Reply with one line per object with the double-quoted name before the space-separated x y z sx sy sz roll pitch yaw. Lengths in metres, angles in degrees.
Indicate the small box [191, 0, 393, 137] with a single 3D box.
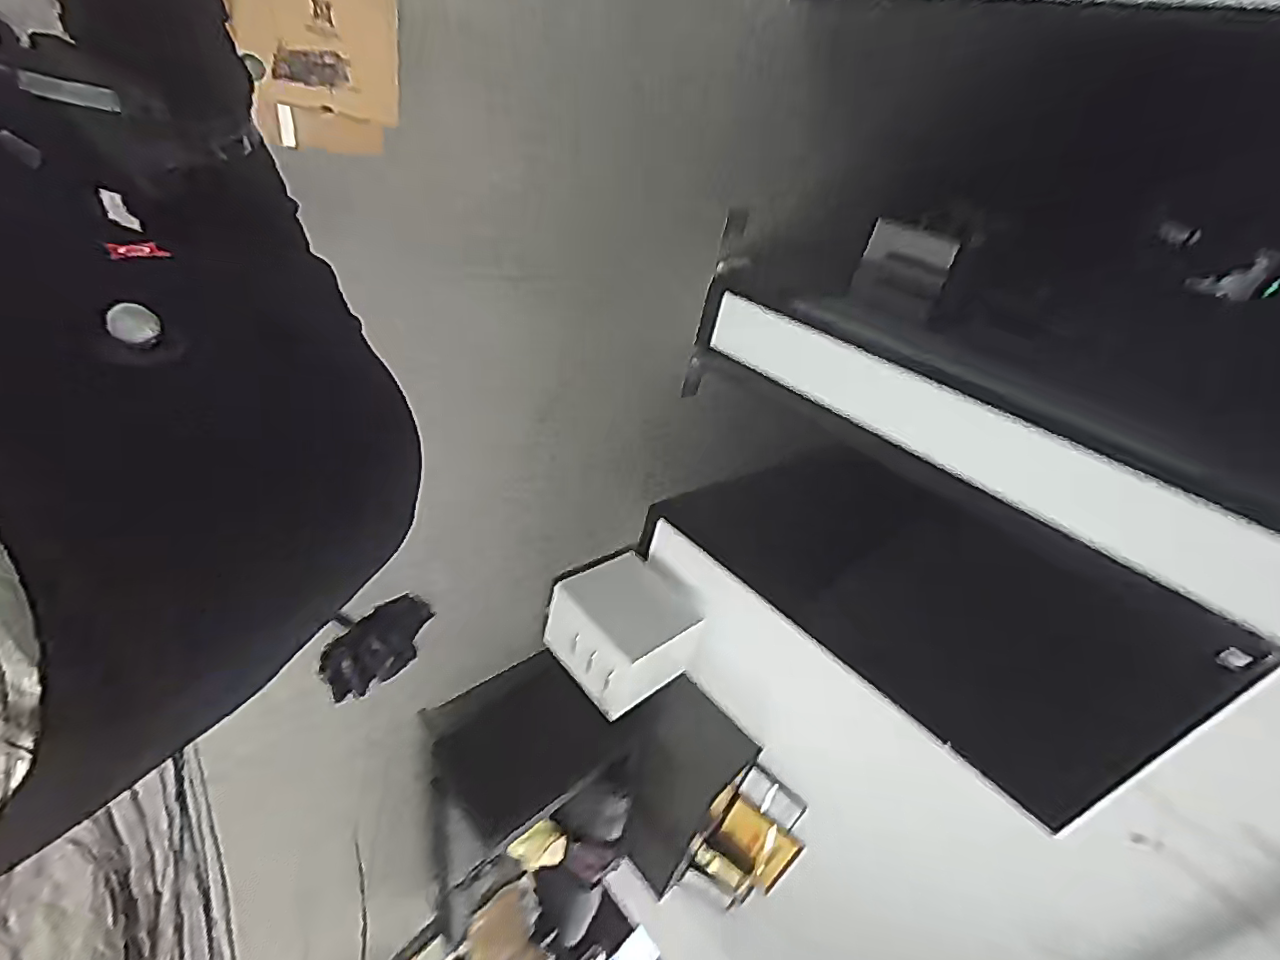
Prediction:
"small box" -0.407 -0.529 0.633 0.168 0.176 0.179 -19 135 -39
